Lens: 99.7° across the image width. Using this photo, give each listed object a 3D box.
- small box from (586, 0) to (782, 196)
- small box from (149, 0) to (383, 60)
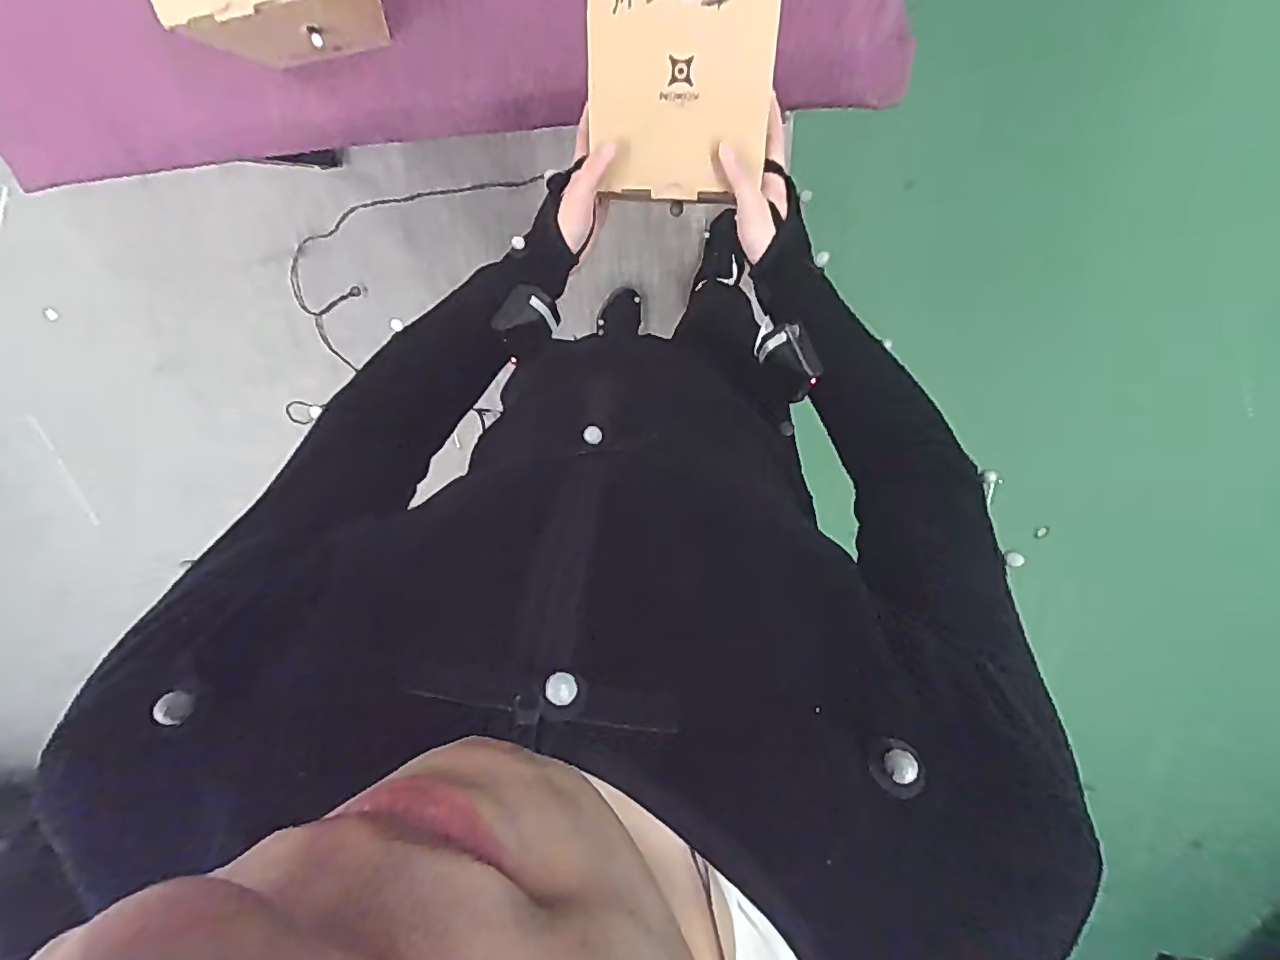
[{"bbox_3d":[0.043,-0.386,0.543,0.168,0.176,0.179,4,117,5],"label":"small box"},{"bbox_3d":[-0.407,-0.574,0.572,0.168,0.176,0.179,-4,115,9],"label":"small box"}]
